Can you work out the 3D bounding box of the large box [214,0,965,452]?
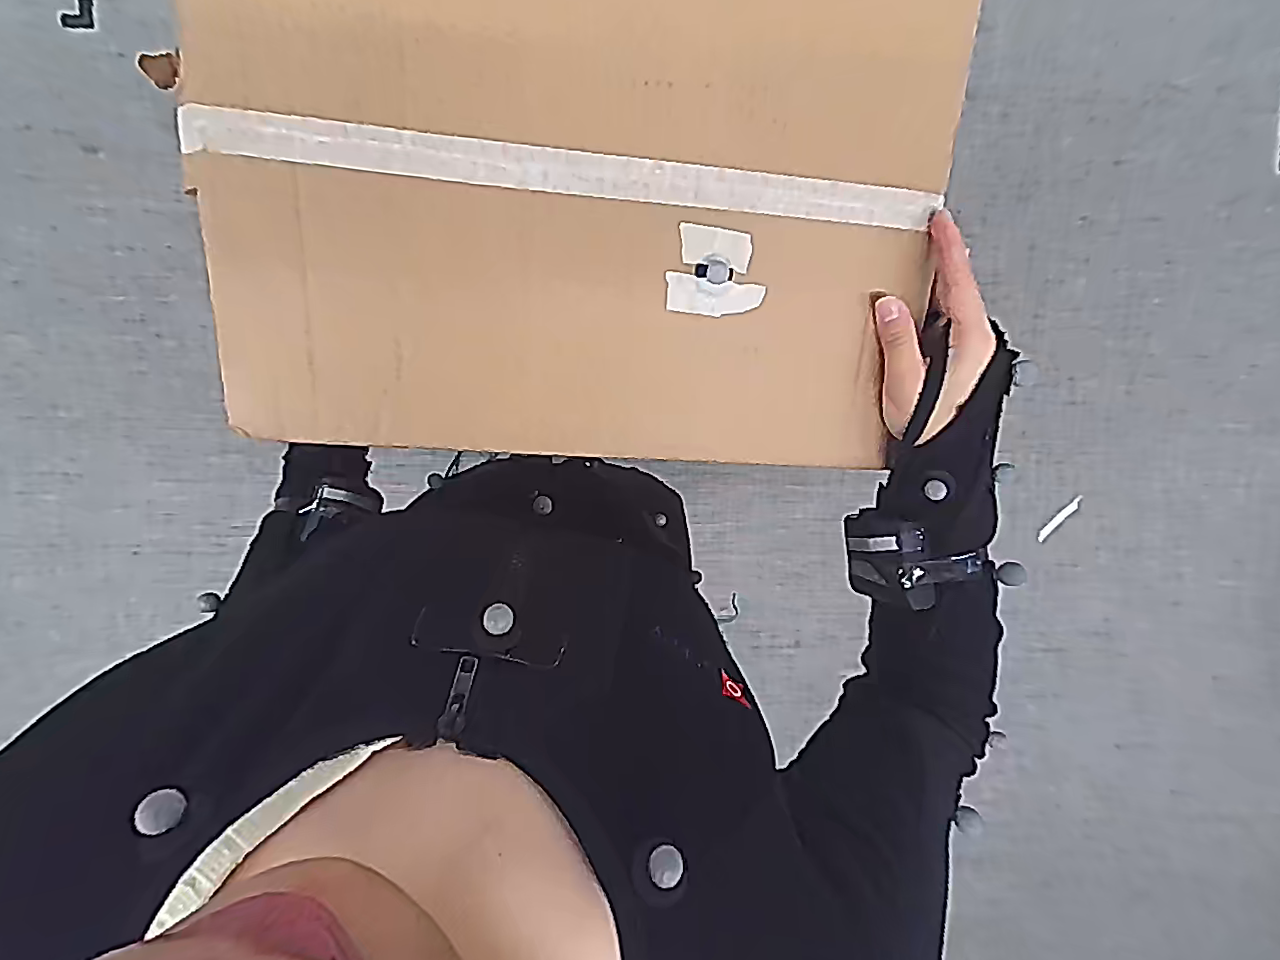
[{"bbox_3d":[-0.039,-0.207,0.450,0.408,0.320,0.320,2,105,-9],"label":"large box"}]
